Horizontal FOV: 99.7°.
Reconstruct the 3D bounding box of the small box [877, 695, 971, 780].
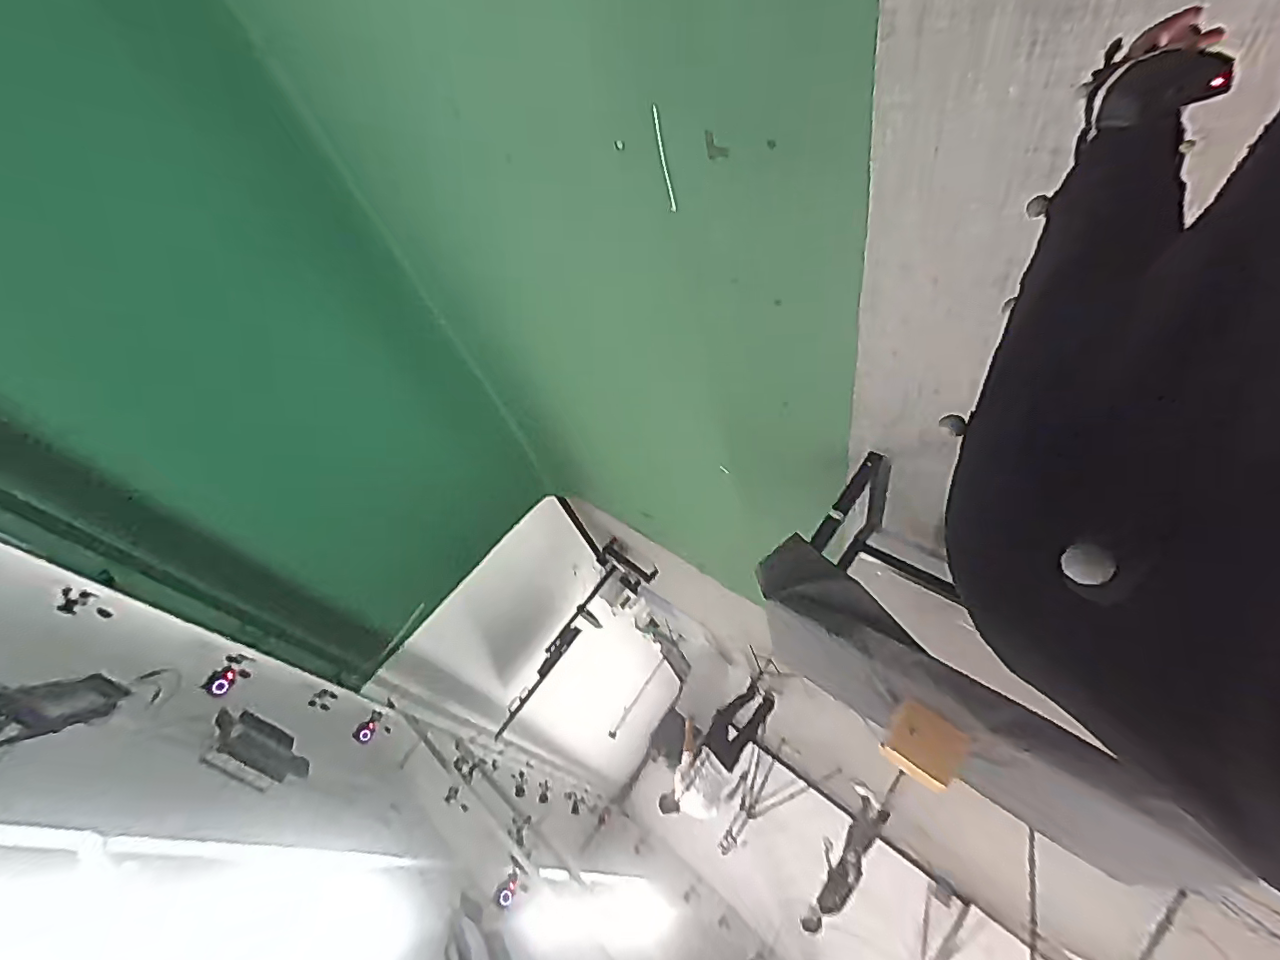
[{"bbox_3d":[0.854,0.770,1.633,0.179,0.176,0.168,30,160,26],"label":"small box"}]
